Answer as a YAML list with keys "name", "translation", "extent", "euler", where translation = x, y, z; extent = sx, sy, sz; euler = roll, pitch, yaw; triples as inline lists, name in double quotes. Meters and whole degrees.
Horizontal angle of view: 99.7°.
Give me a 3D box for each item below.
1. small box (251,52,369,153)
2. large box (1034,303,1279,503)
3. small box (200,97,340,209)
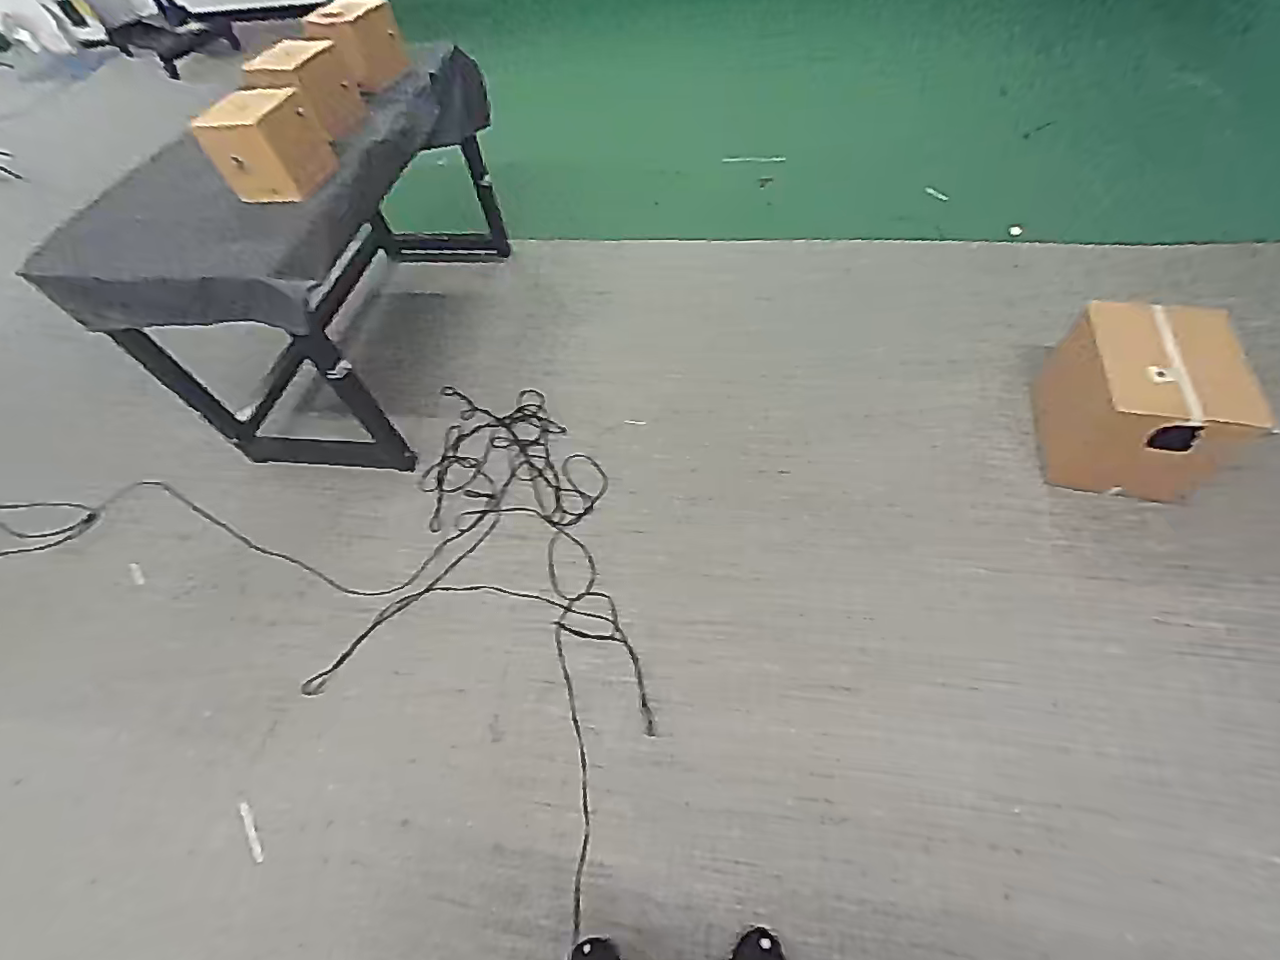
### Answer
- name: "small box"
  translation: [-0.850, -0.991, 1.419]
  extent: [0.168, 0.176, 0.179]
  euler: [12, 59, 16]
- name: "large box"
  translation: [1.310, -0.203, 1.432]
  extent: [0.320, 0.320, 0.408]
  euler: [9, 59, 13]
- name: "small box"
  translation: [-0.839, -0.748, 1.250]
  extent: [0.168, 0.176, 0.179]
  euler: [4, 56, 11]
